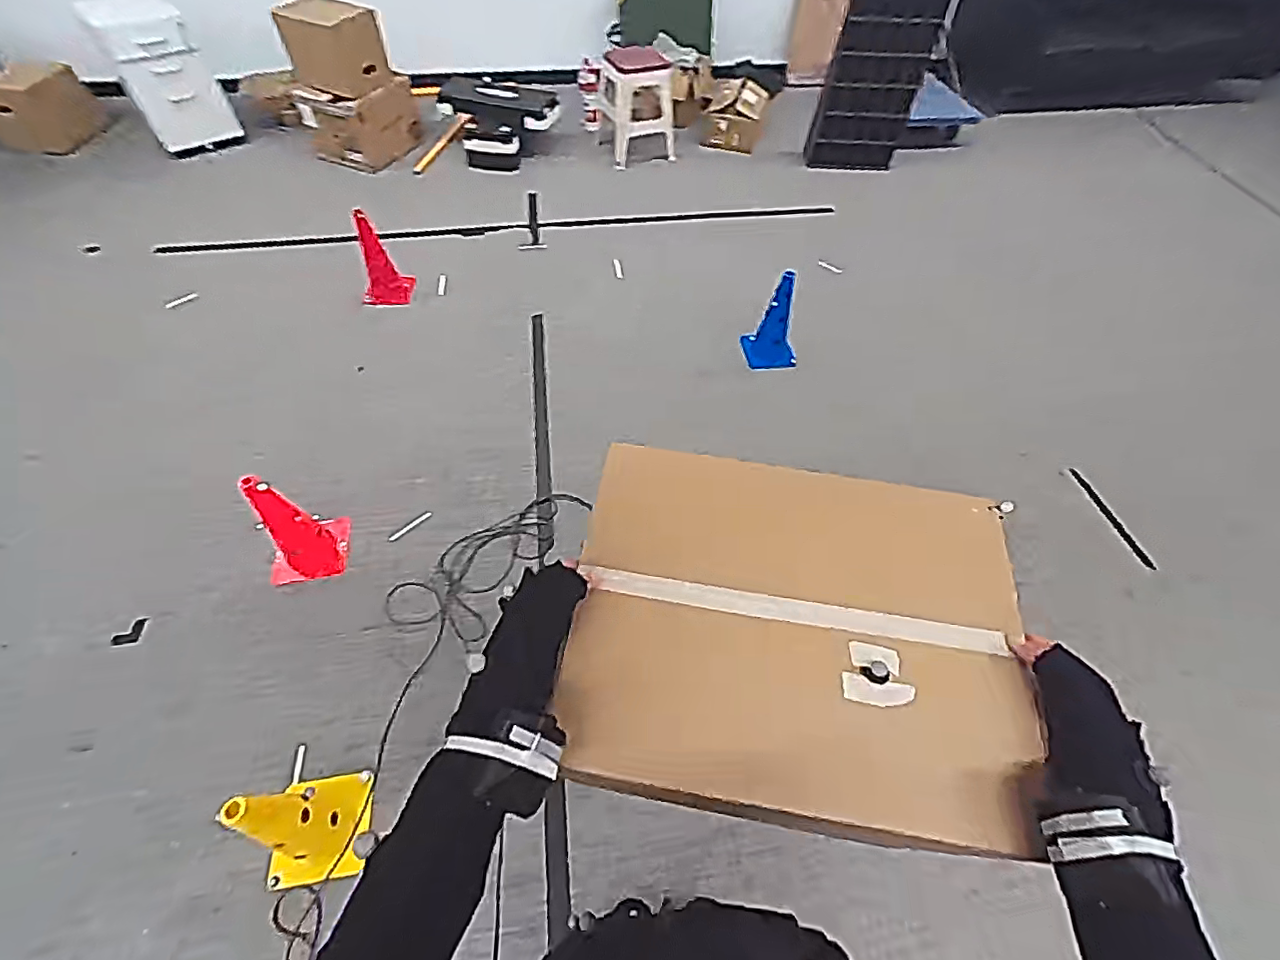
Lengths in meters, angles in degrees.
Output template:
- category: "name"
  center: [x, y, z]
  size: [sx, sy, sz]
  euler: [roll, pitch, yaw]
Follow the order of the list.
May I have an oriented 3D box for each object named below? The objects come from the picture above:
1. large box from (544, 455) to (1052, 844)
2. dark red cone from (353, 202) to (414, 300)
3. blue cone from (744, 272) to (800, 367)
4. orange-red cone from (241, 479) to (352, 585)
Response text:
- category: "large box"
  center: [0.132, 0.203, 0.623]
  size: [0.408, 0.320, 0.320]
  euler: [8, 58, 3]
- category: "dark red cone"
  center: [-1.095, -0.942, 2.232]
  size: [0.201, 0.394, 0.202]
  euler: [-1, 54, -4]
- category: "blue cone"
  center: [0.539, -0.626, 2.091]
  size: [0.192, 0.380, 0.193]
  euler: [-3, 54, -5]
- category: "orange-red cone"
  center: [-0.973, 0.116, 1.485]
  size: [0.198, 0.360, 0.199]
  euler: [-9, 56, -7]
